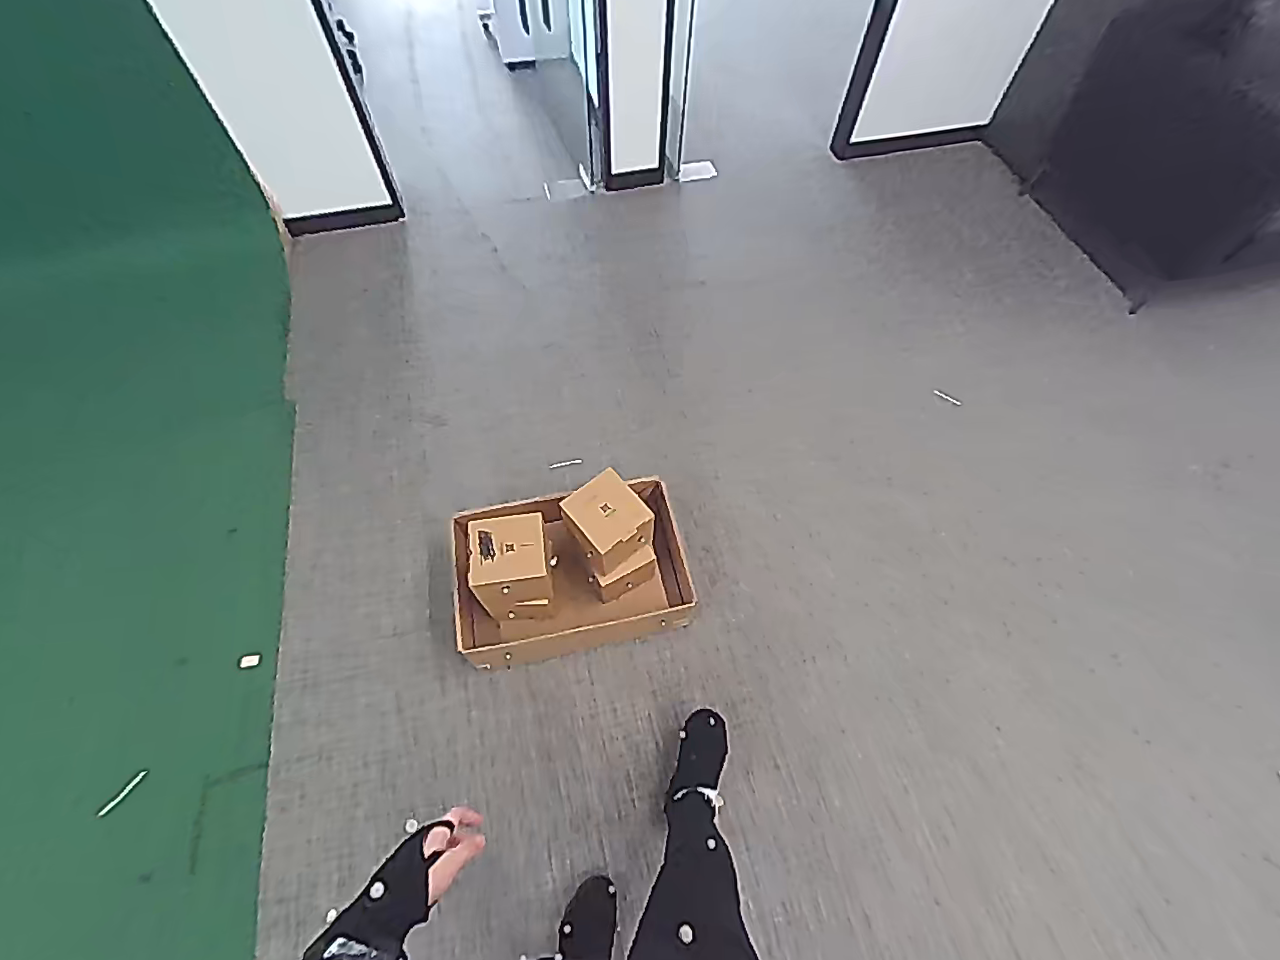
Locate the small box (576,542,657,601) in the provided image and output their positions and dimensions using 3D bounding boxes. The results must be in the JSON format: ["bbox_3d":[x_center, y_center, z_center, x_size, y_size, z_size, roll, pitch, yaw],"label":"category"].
[{"bbox_3d":[-0.065,0.219,1.509,0.168,0.176,0.179,-26,64,-14],"label":"small box"}]

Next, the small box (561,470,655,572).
[{"bbox_3d":[-0.078,0.115,1.380,0.168,0.176,0.179,-35,67,-19],"label":"small box"}]

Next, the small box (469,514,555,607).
[{"bbox_3d":[-0.310,0.203,1.324,0.179,0.176,0.168,-6,60,-6],"label":"small box"}]
